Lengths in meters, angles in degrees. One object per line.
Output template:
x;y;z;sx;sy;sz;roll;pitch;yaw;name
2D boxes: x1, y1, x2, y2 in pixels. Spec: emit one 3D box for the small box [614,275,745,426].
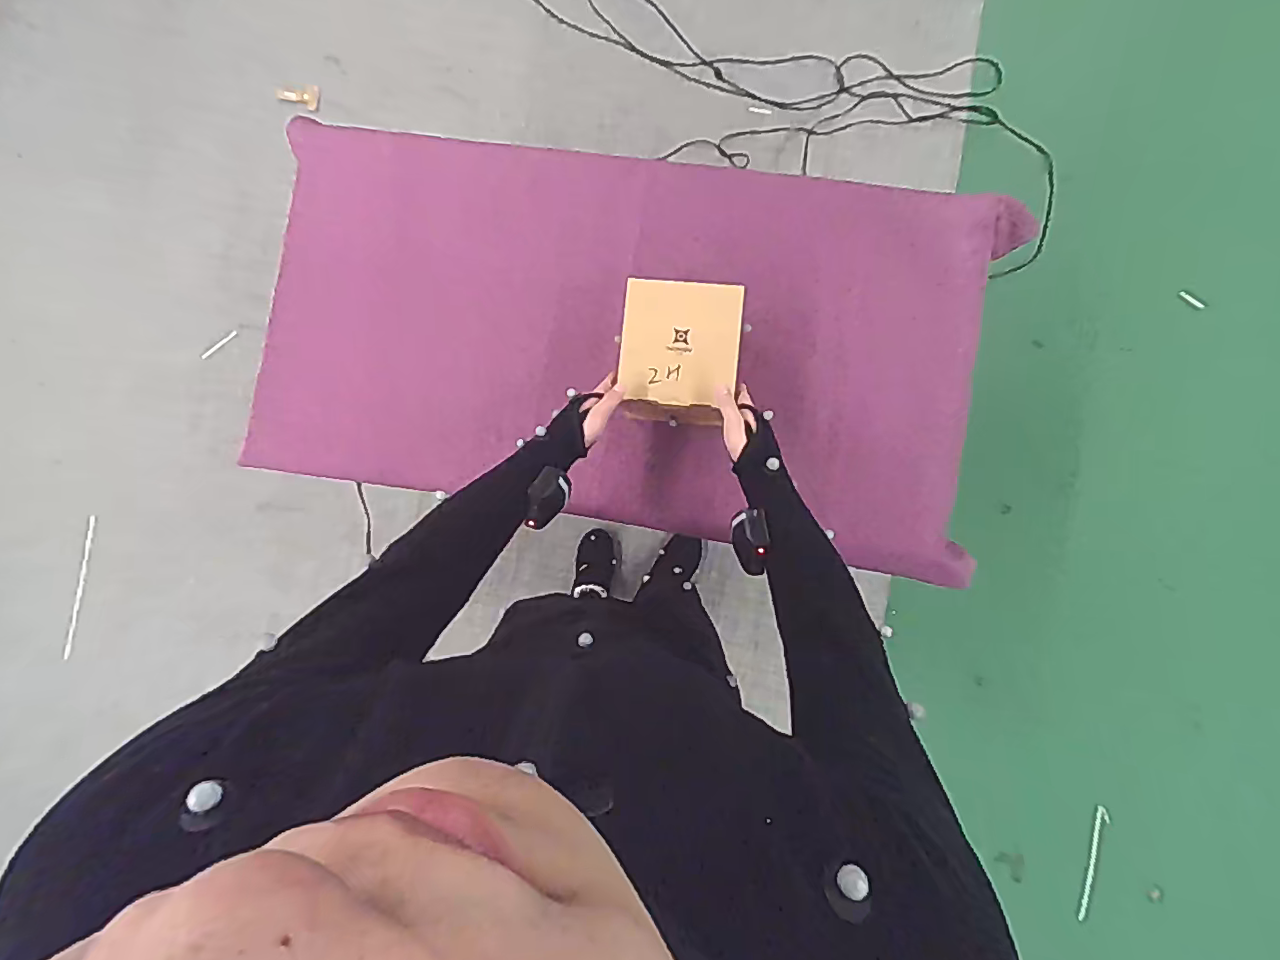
0.059;-0.187;0.824;0.168;0.176;0.179;6;88;5;small box
